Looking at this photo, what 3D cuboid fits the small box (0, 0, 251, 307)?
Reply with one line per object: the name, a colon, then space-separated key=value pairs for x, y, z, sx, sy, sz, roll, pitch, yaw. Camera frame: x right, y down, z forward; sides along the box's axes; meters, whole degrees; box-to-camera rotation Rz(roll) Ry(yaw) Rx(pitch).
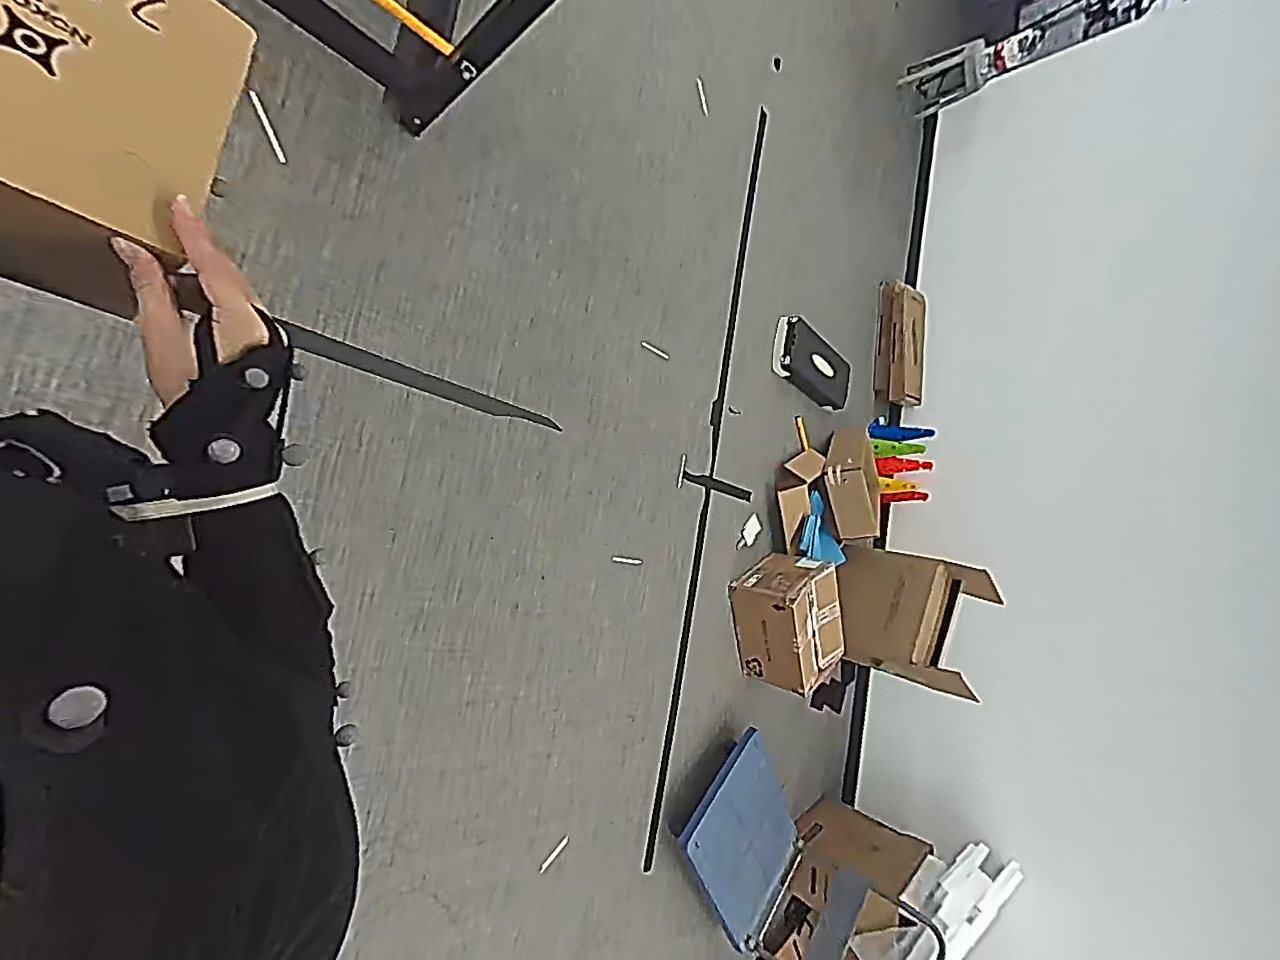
small box: x=-0.384 y=-0.233 z=0.337 sx=0.168 sy=0.176 sz=0.179 roll=20 pitch=72 yaw=-51
